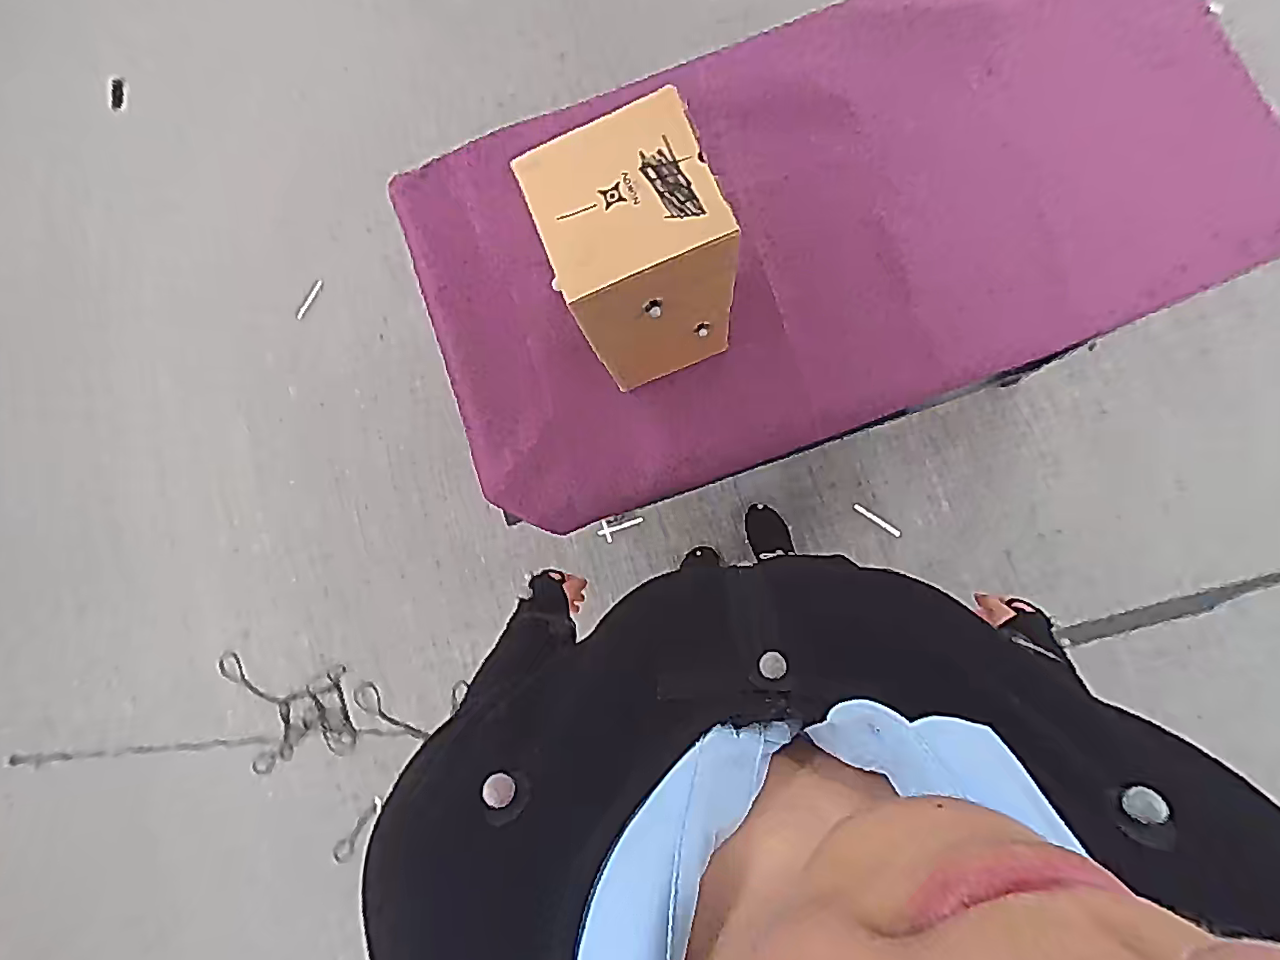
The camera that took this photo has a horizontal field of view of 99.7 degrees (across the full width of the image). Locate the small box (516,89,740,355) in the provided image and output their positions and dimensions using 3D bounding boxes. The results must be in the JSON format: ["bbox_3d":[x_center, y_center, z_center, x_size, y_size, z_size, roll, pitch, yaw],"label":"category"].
[{"bbox_3d":[-0.006,-0.263,0.593,0.179,0.176,0.168,-22,81,5],"label":"small box"}]

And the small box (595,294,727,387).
[{"bbox_3d":[0.012,-0.249,0.756,0.179,0.176,0.168,-22,82,4],"label":"small box"}]
